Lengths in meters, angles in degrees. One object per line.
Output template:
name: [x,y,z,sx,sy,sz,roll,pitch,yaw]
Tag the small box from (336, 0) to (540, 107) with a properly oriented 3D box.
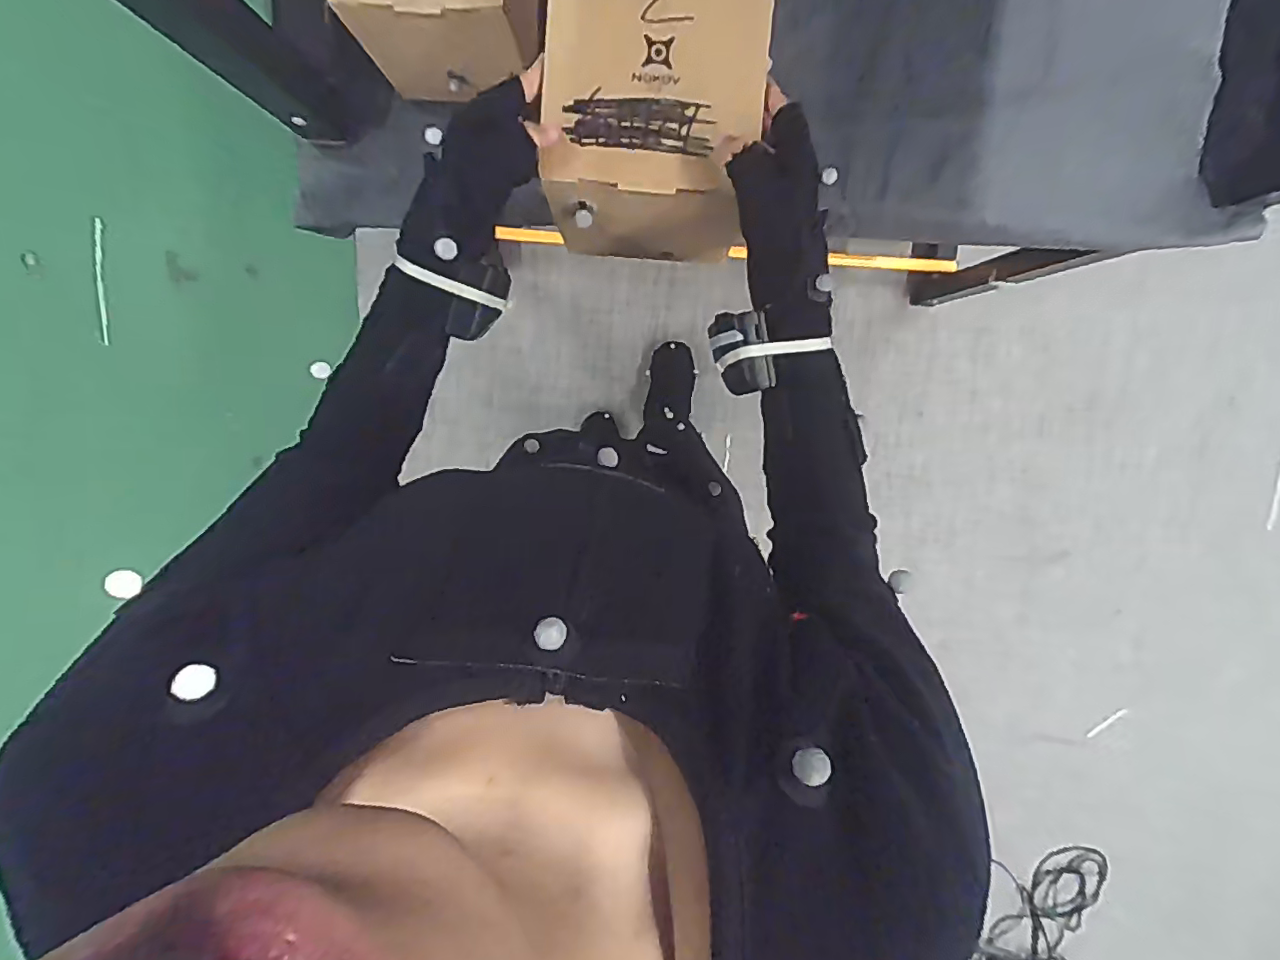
small box: [-0.200,-0.531,0.561,0.168,0.176,0.179,3,100,-1]
